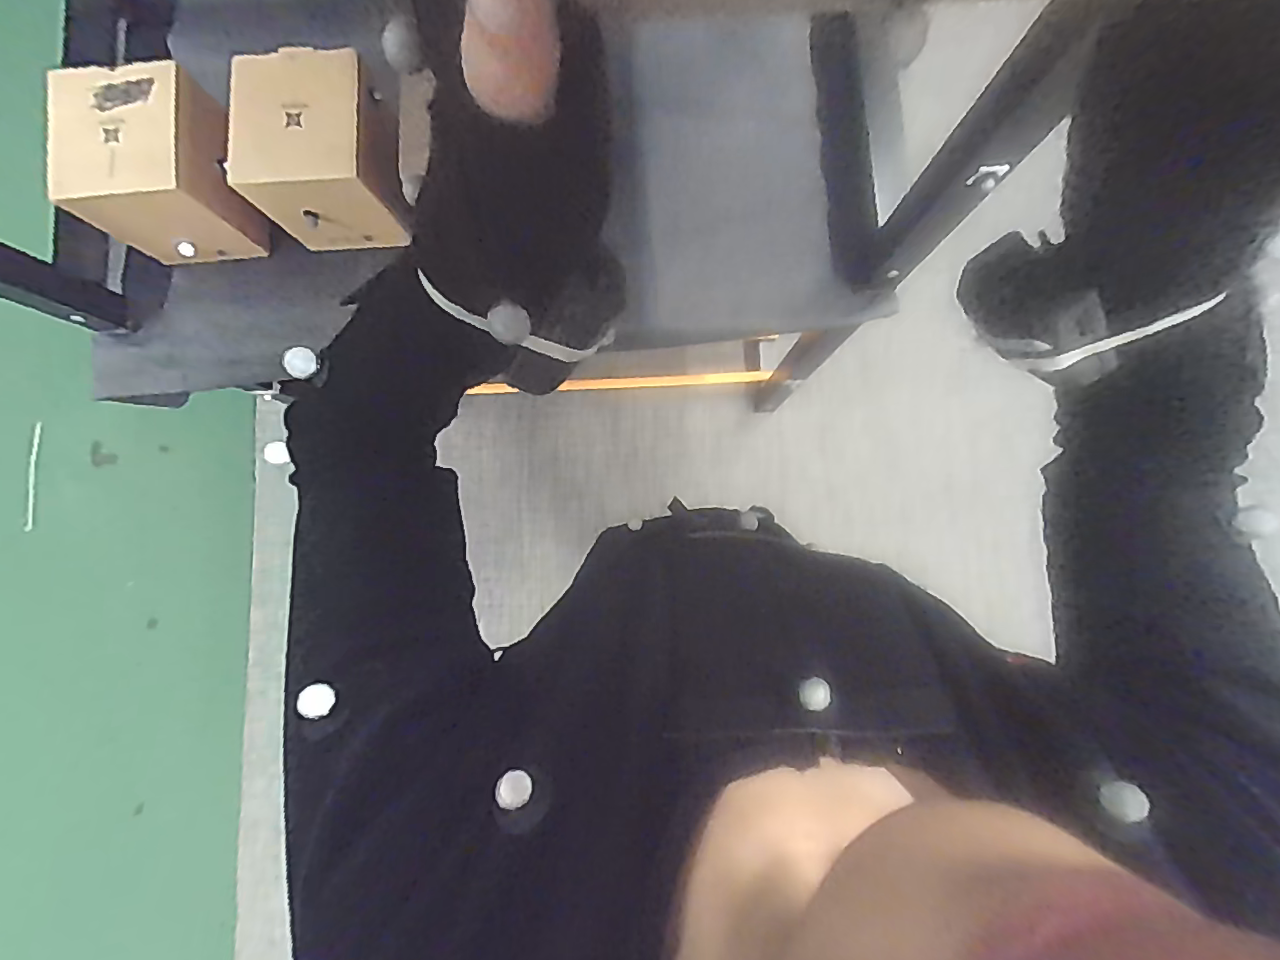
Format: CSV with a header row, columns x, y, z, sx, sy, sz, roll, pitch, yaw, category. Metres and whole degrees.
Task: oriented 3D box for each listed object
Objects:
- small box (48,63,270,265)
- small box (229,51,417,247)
x,y,z,sx,sy,sz,roll,pitch,yaw,category
-0.651,-0.428,0.754,0.168,0.176,0.179,-5,84,1,small box
-0.425,-0.442,0.752,0.168,0.176,0.179,-2,83,1,small box
